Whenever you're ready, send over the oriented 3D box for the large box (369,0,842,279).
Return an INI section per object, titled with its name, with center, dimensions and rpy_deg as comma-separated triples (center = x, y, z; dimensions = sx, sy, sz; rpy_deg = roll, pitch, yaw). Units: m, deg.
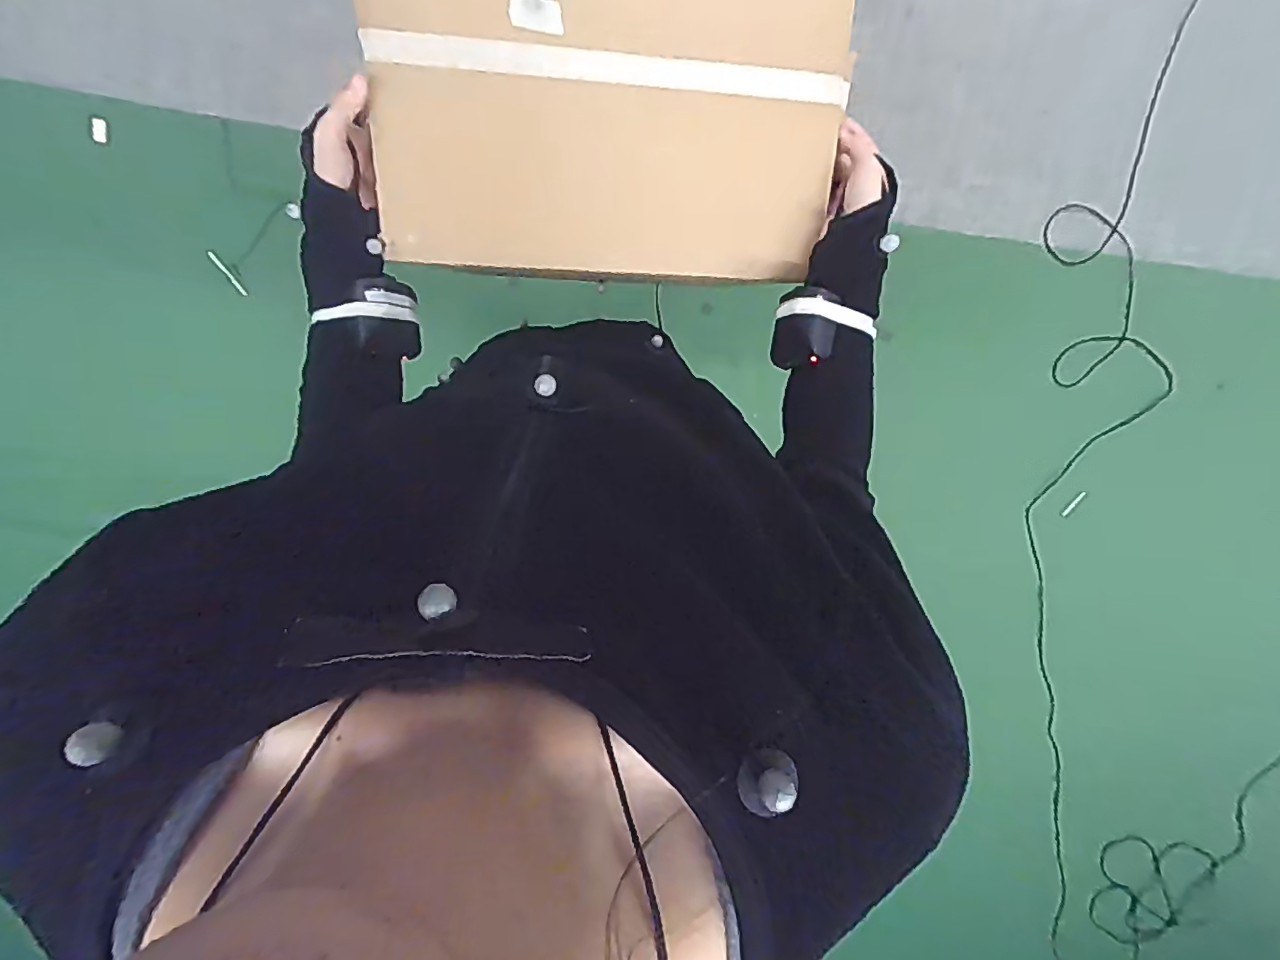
[large box]
center = -0.040, -0.399, 0.609
dimensions = 0.408, 0.320, 0.320
rpy_deg = 0, 109, -8
